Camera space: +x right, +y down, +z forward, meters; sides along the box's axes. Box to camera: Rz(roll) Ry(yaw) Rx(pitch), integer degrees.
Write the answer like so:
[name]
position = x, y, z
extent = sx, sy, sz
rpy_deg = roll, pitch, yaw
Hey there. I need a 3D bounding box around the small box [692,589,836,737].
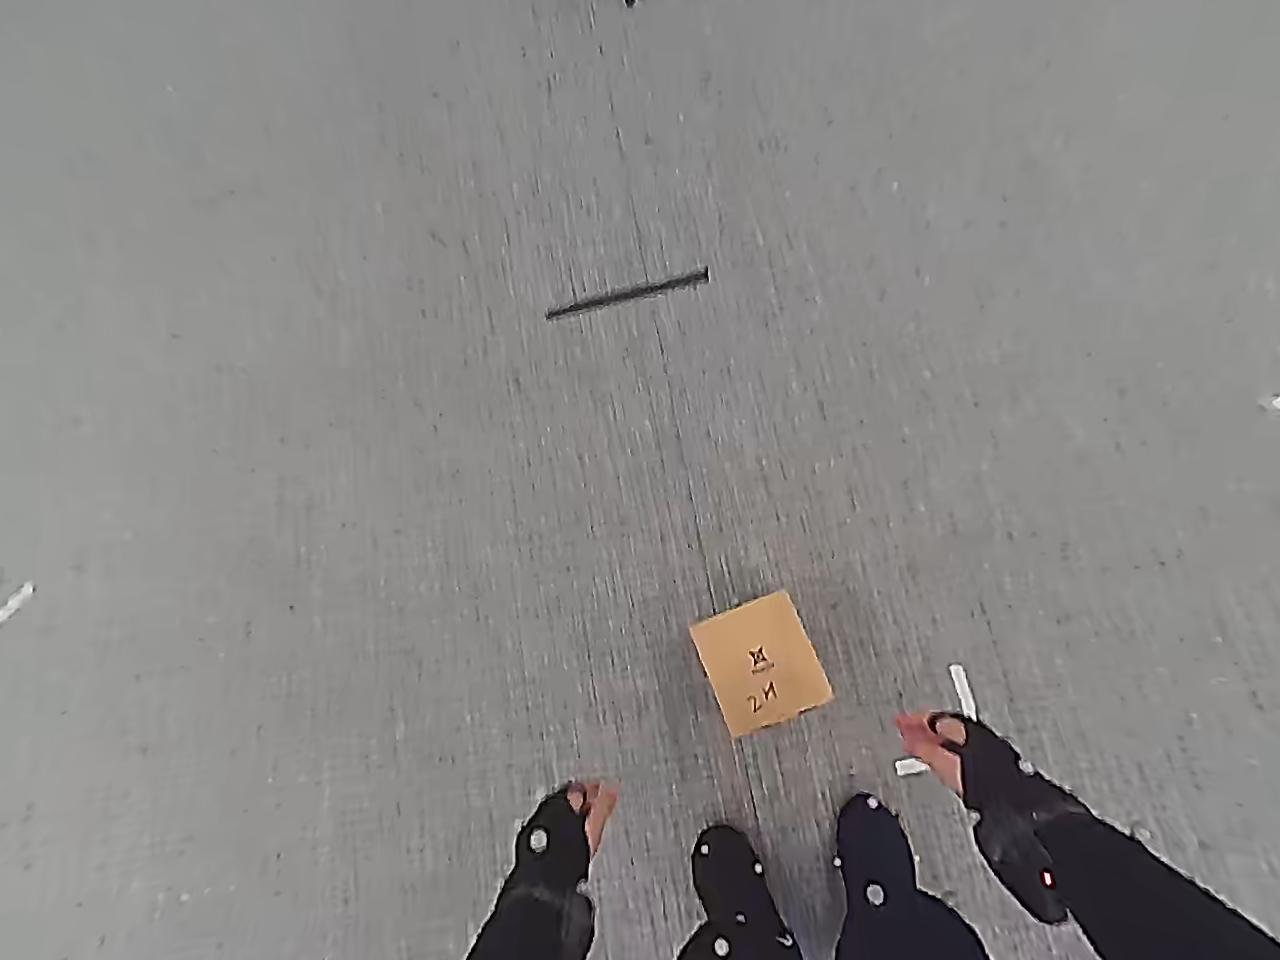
[small box]
position = 0.194, 0.295, 0.894
extent = 0.168, 0.176, 0.179
rpy_deg = -22, 74, 3
